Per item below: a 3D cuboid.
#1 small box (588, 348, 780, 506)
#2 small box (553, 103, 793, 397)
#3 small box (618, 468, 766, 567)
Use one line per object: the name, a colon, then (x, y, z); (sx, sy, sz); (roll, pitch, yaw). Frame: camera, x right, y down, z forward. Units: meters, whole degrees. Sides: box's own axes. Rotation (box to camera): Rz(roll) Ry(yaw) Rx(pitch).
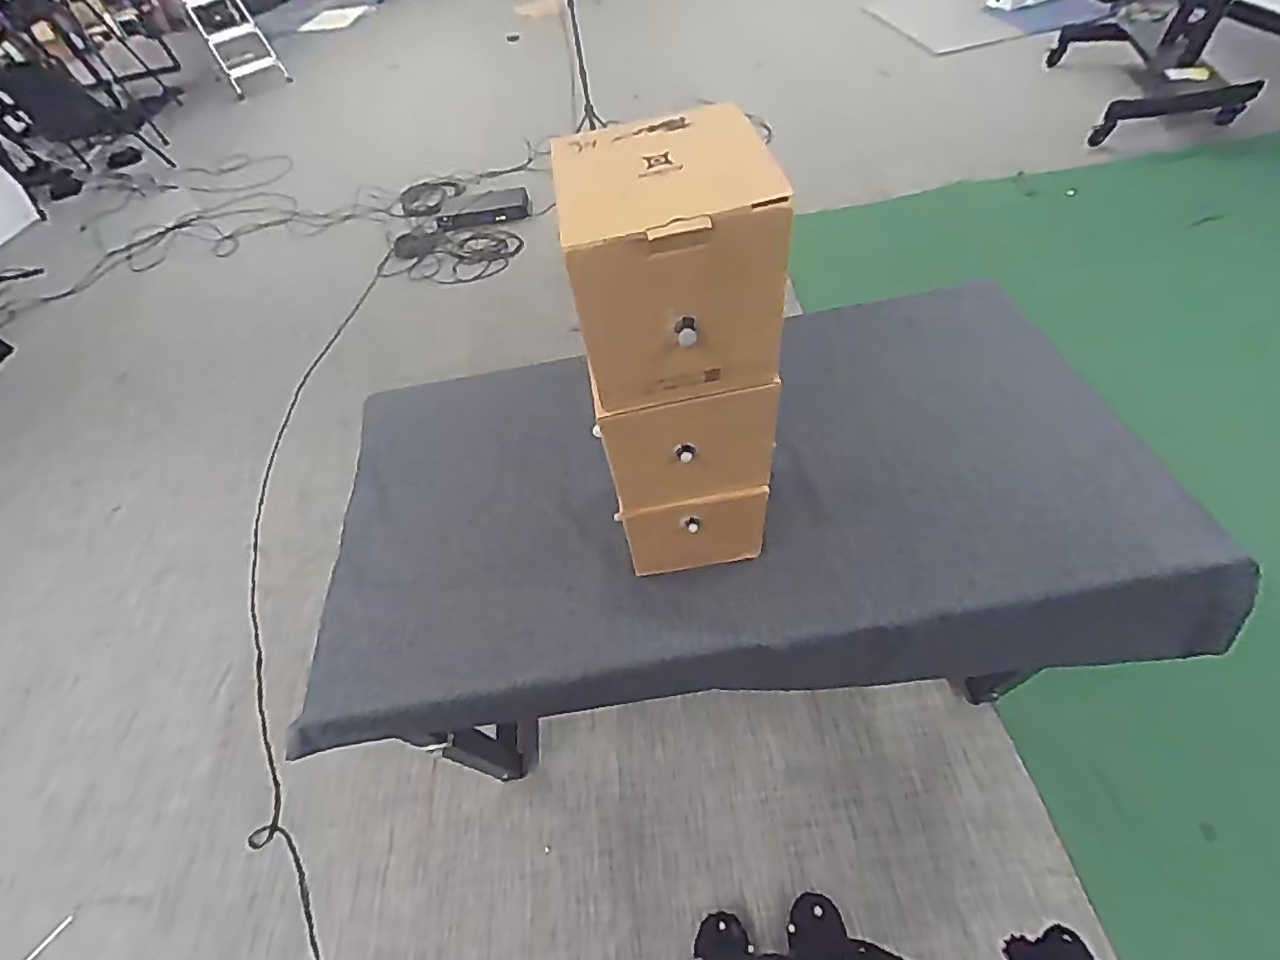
small box: (0.044, -0.091, 0.609); (0.179, 0.176, 0.168); (-11, 55, 2)
small box: (0.026, -0.191, 0.481); (0.168, 0.176, 0.179); (-10, 56, 1)
small box: (0.063, 0.005, 0.741); (0.179, 0.176, 0.168); (-9, 55, 1)
